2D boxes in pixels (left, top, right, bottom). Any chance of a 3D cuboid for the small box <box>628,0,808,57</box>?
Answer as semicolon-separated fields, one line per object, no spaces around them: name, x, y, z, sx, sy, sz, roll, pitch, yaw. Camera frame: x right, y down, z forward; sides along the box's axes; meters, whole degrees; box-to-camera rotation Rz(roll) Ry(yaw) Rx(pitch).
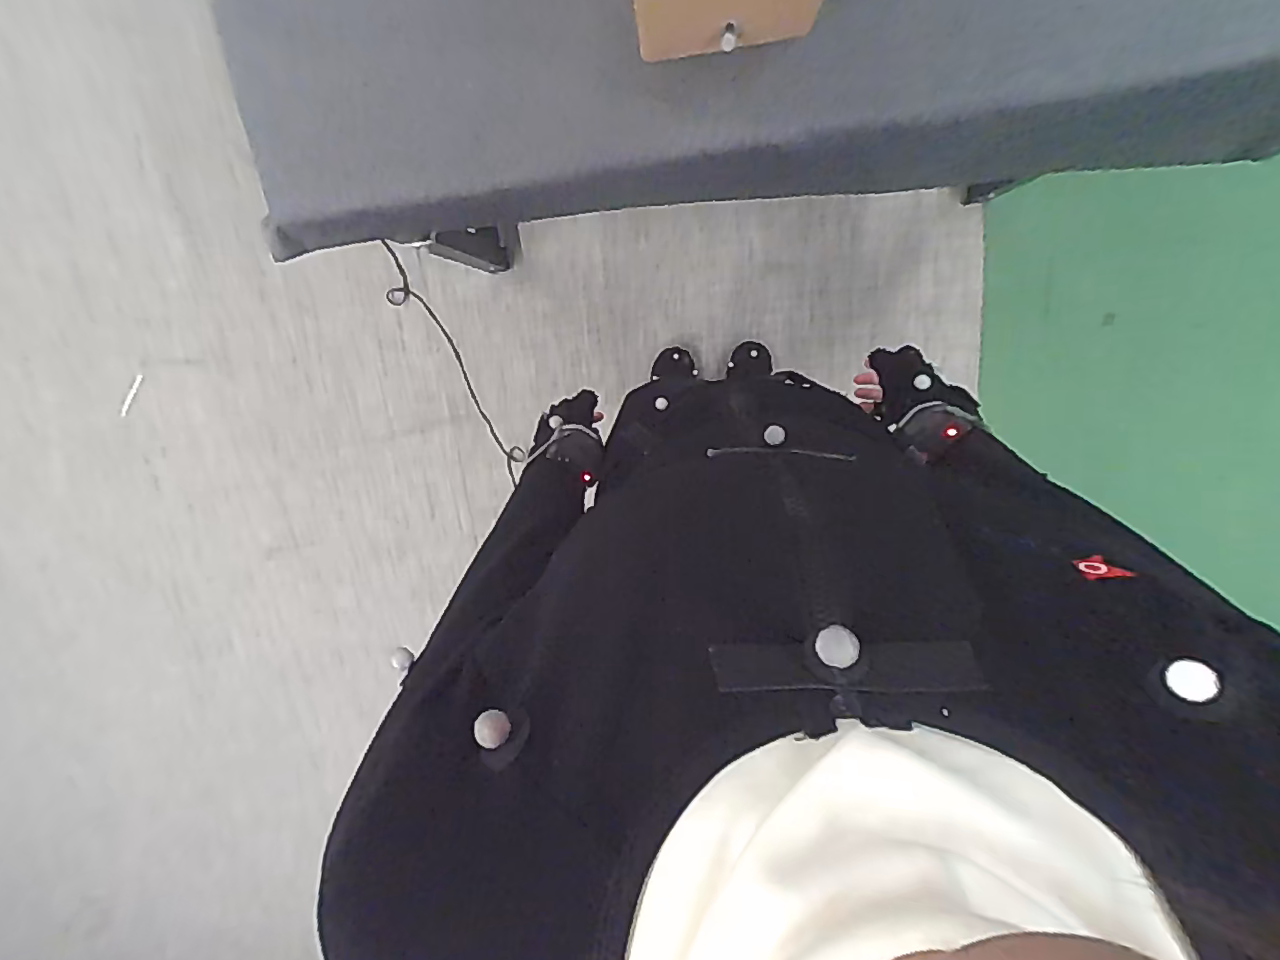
small box;0.069;-0.514;0.474;0.179;0.176;0.168;-5;104;5
